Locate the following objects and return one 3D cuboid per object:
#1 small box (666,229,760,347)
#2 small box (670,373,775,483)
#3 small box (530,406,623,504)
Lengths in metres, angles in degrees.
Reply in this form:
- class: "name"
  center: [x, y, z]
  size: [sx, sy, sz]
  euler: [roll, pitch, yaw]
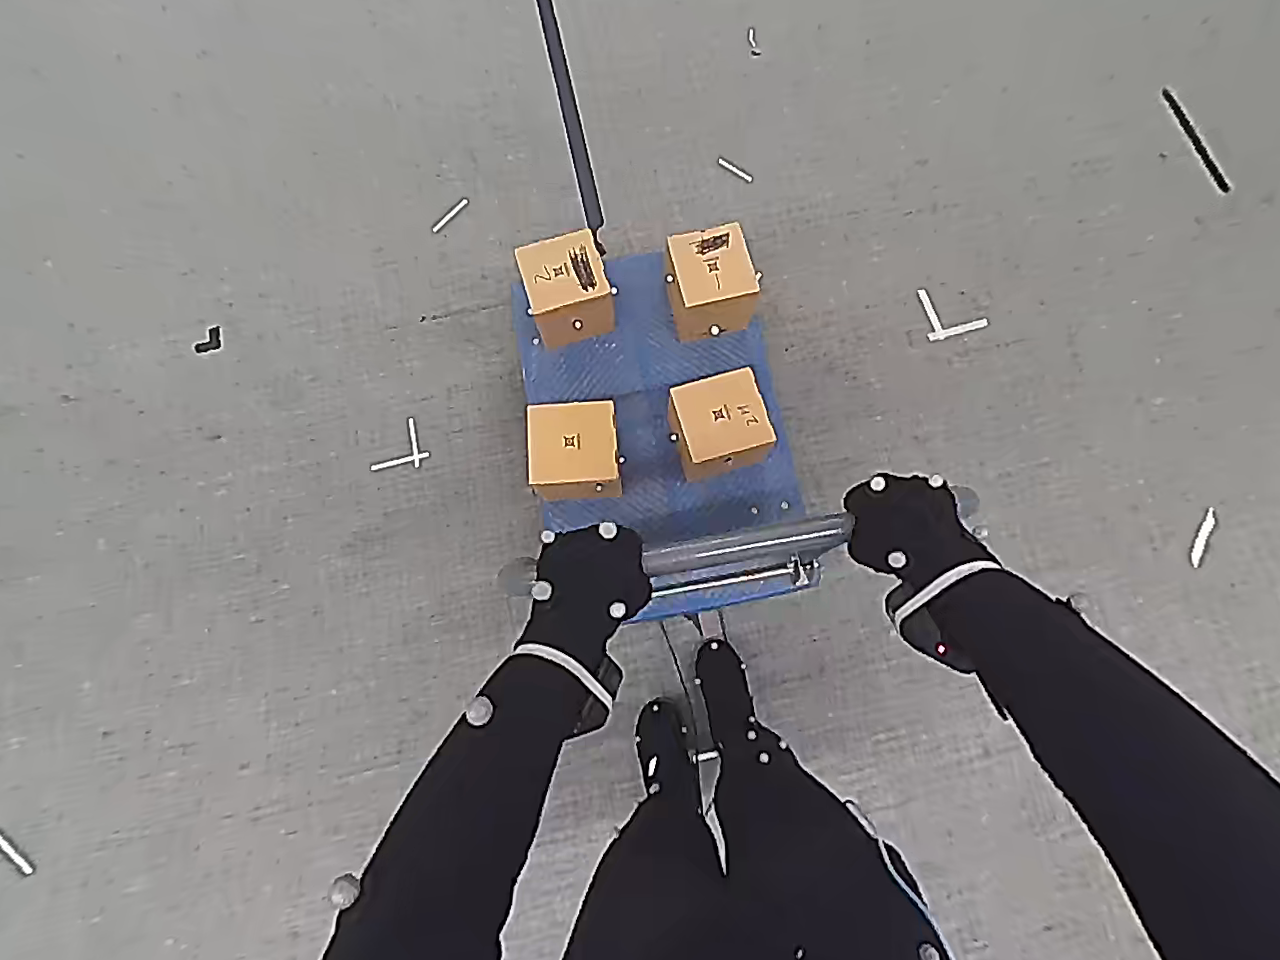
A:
- class: "small box"
  center: [0.158, -0.434, 1.240]
  size: [0.168, 0.176, 0.179]
  euler: [-13, 78, -2]
- class: "small box"
  center: [0.168, -0.103, 1.162]
  size: [0.179, 0.176, 0.168]
  euler: [-16, 77, -3]
- class: "small box"
  center: [-0.131, -0.047, 1.153]
  size: [0.179, 0.176, 0.168]
  euler: [-4, 76, -2]
